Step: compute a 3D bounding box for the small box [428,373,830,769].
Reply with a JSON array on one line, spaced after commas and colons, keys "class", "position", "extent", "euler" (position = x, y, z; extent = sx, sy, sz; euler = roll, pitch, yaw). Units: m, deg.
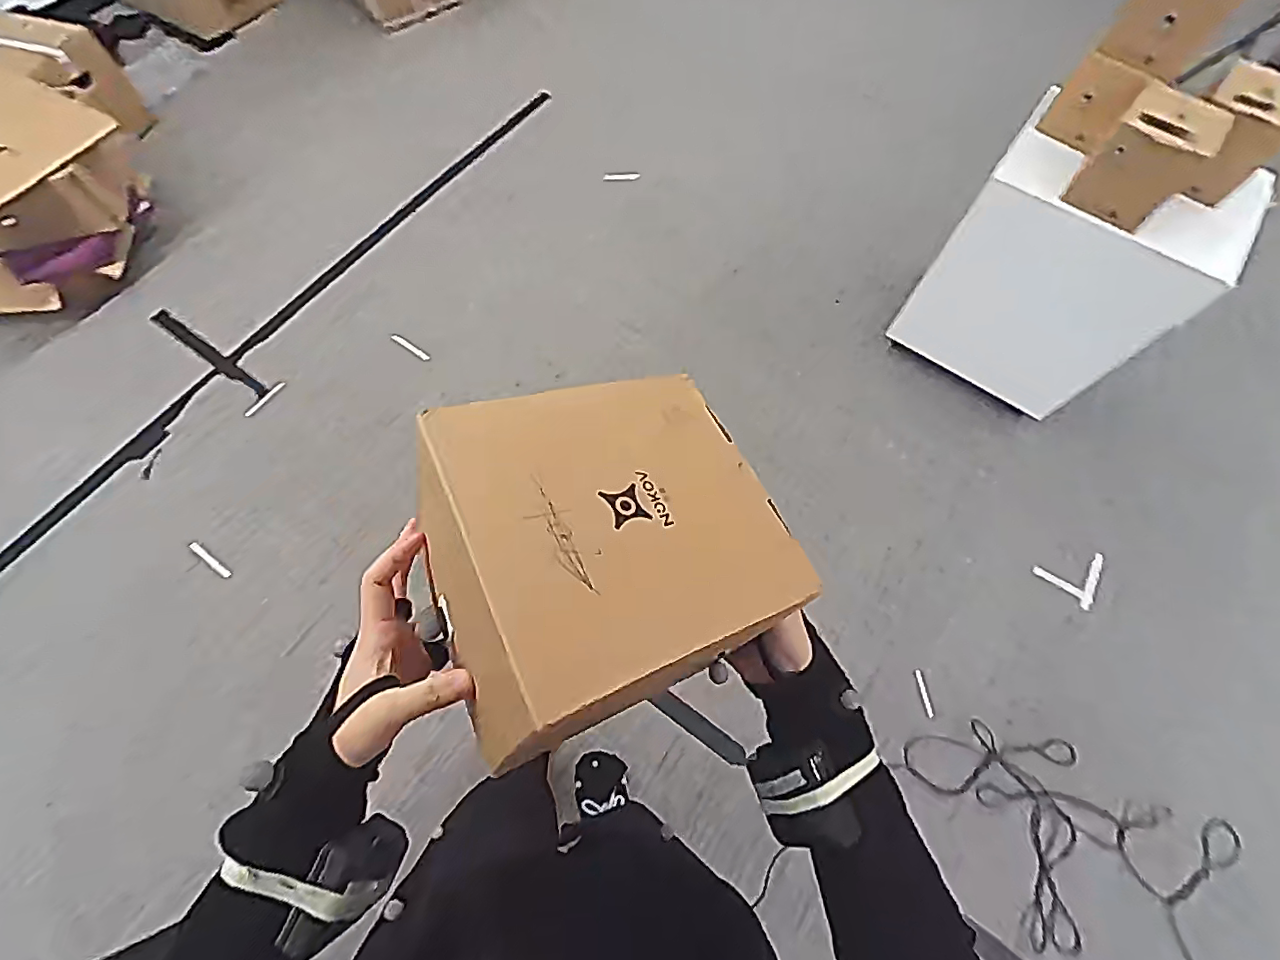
[{"class": "small box", "position": [-0.026, 0.058, 0.349], "extent": [0.179, 0.176, 0.168], "euler": [-17, 64, -30]}]

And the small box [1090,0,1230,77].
[{"class": "small box", "position": [1.027, -0.928, 1.040], "extent": [0.168, 0.176, 0.179], "euler": [37, 72, 13]}]

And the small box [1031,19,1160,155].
[{"class": "small box", "position": [1.014, -0.864, 1.191], "extent": [0.168, 0.176, 0.179], "euler": [38, 72, 13]}]
